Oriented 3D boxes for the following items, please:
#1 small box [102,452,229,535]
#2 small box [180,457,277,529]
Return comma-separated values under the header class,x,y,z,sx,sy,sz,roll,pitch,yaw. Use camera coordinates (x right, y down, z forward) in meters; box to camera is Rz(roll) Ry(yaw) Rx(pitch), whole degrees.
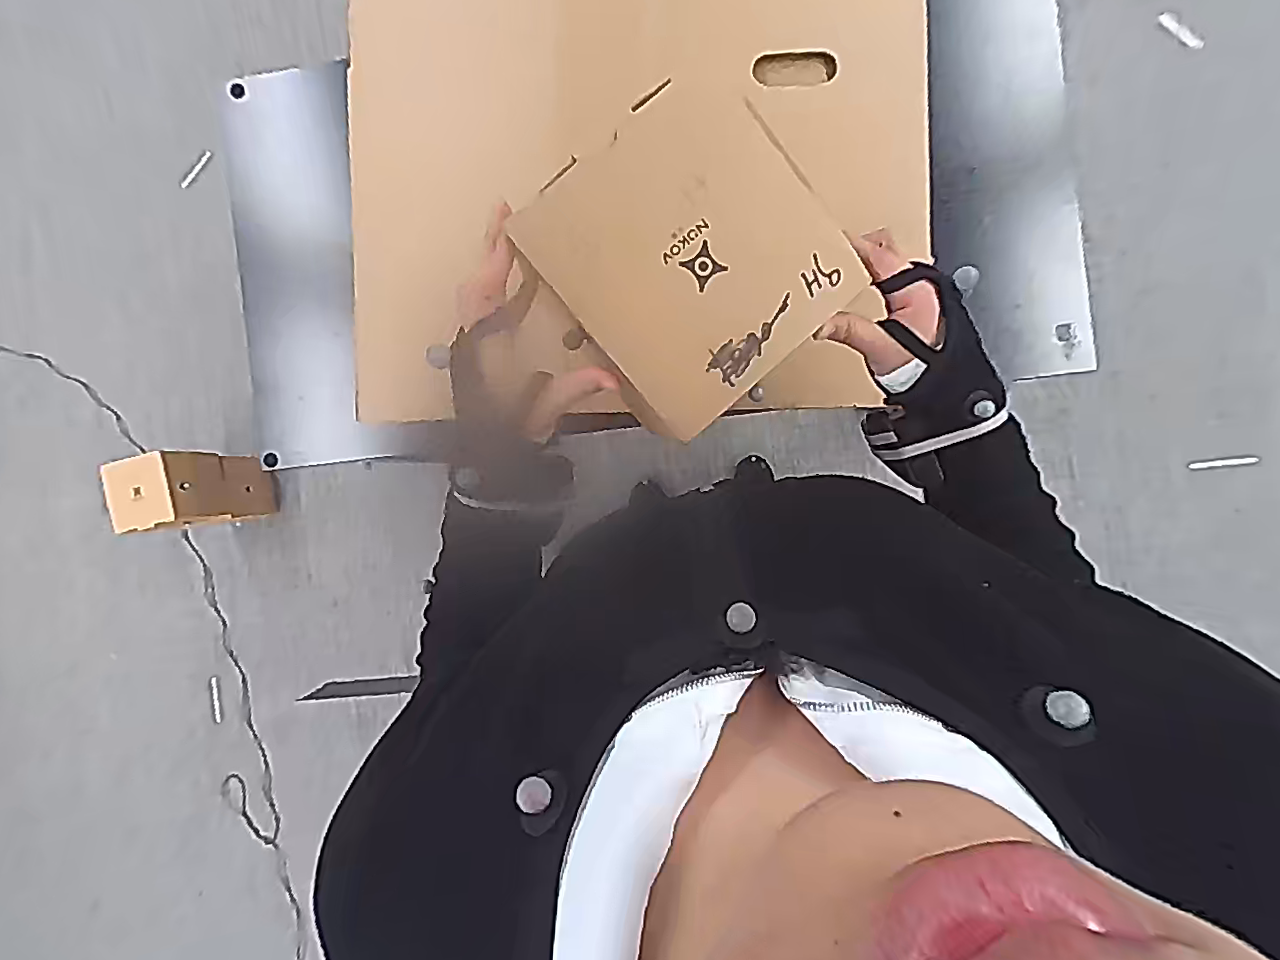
class,x,y,z,sx,sy,sz,roll,pitch,yaw
small box,-1.204,0.033,1.387,0.168,0.176,0.179,-14,88,5
small box,-1.186,0.036,1.548,0.168,0.176,0.179,-10,91,6
